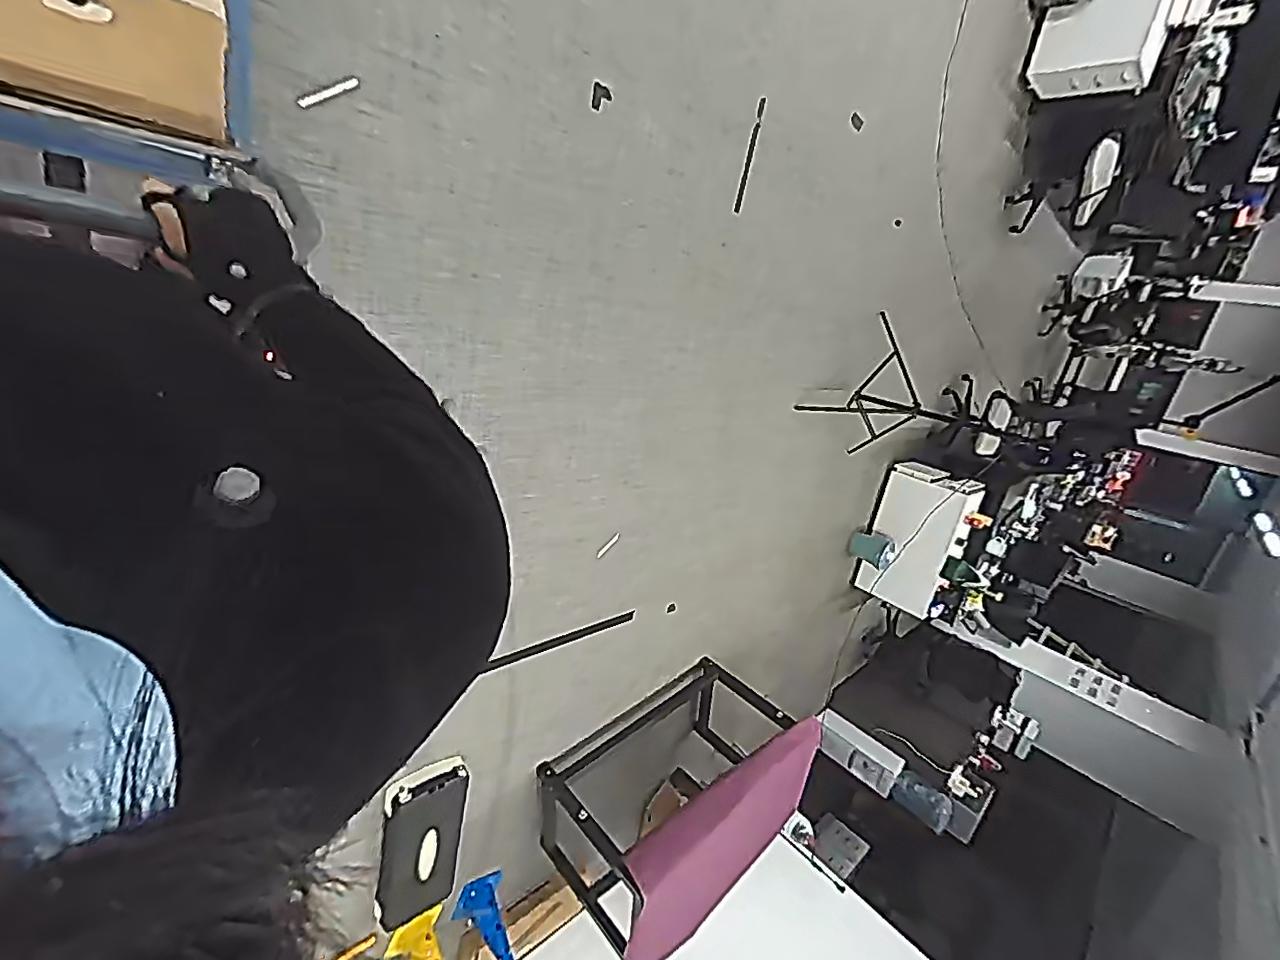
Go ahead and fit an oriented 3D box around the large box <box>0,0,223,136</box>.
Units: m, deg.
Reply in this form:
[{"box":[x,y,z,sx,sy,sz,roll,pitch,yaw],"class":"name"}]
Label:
[{"box":[-0.793,-0.661,0.661,0.408,0.320,0.320,-7,121,-44],"class":"large box"}]
